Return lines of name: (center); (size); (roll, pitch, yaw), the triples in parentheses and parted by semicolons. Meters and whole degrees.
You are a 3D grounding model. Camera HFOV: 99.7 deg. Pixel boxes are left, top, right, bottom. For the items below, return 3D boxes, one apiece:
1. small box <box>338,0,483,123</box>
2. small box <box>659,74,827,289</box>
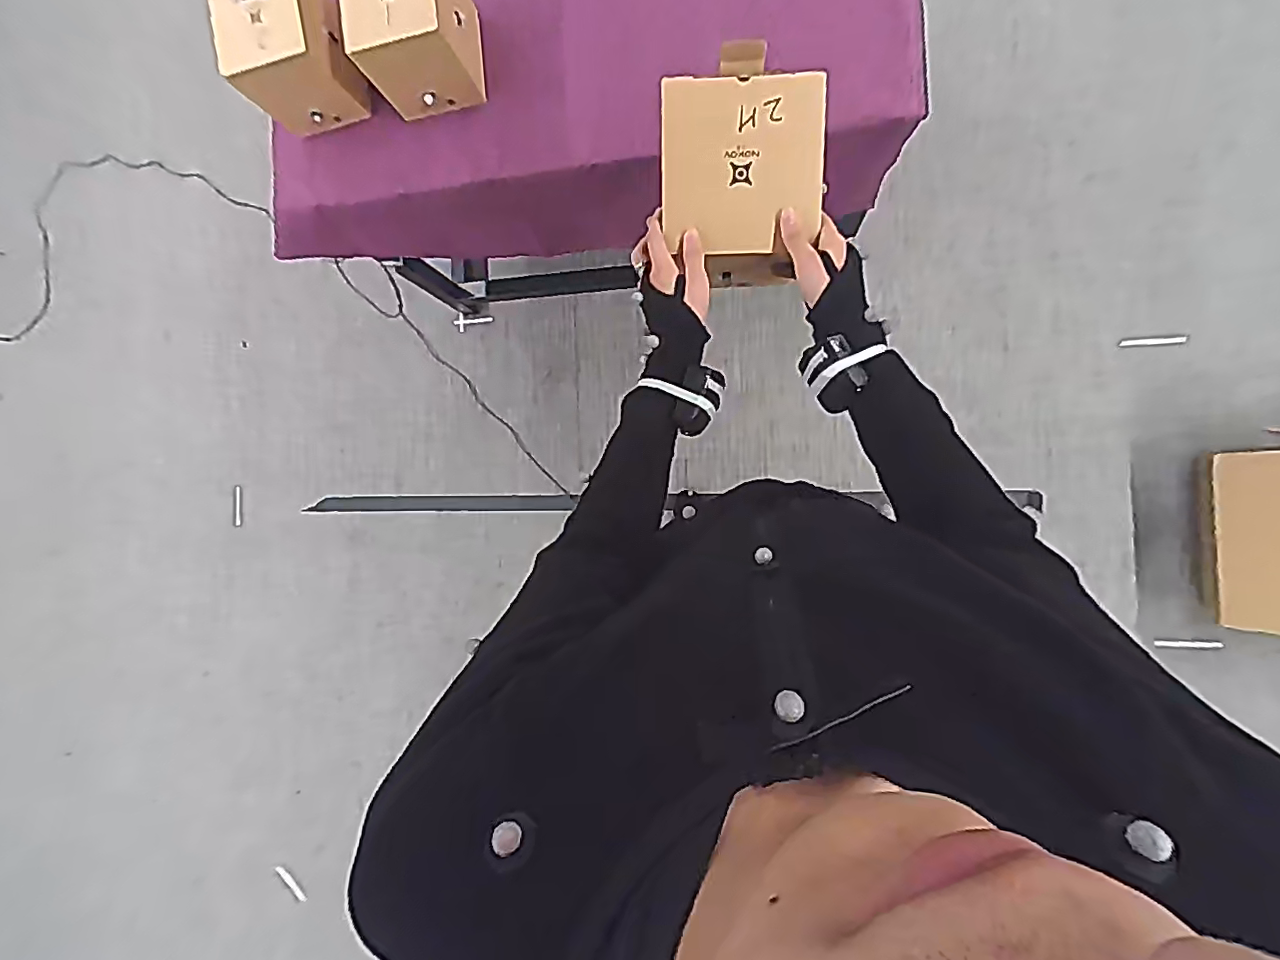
small box: (-0.387, -0.764, 0.929); (0.168, 0.176, 0.179); (-6, 89, 10)
small box: (0.107, -0.324, 0.626); (0.168, 0.176, 0.179); (0, 97, 3)
